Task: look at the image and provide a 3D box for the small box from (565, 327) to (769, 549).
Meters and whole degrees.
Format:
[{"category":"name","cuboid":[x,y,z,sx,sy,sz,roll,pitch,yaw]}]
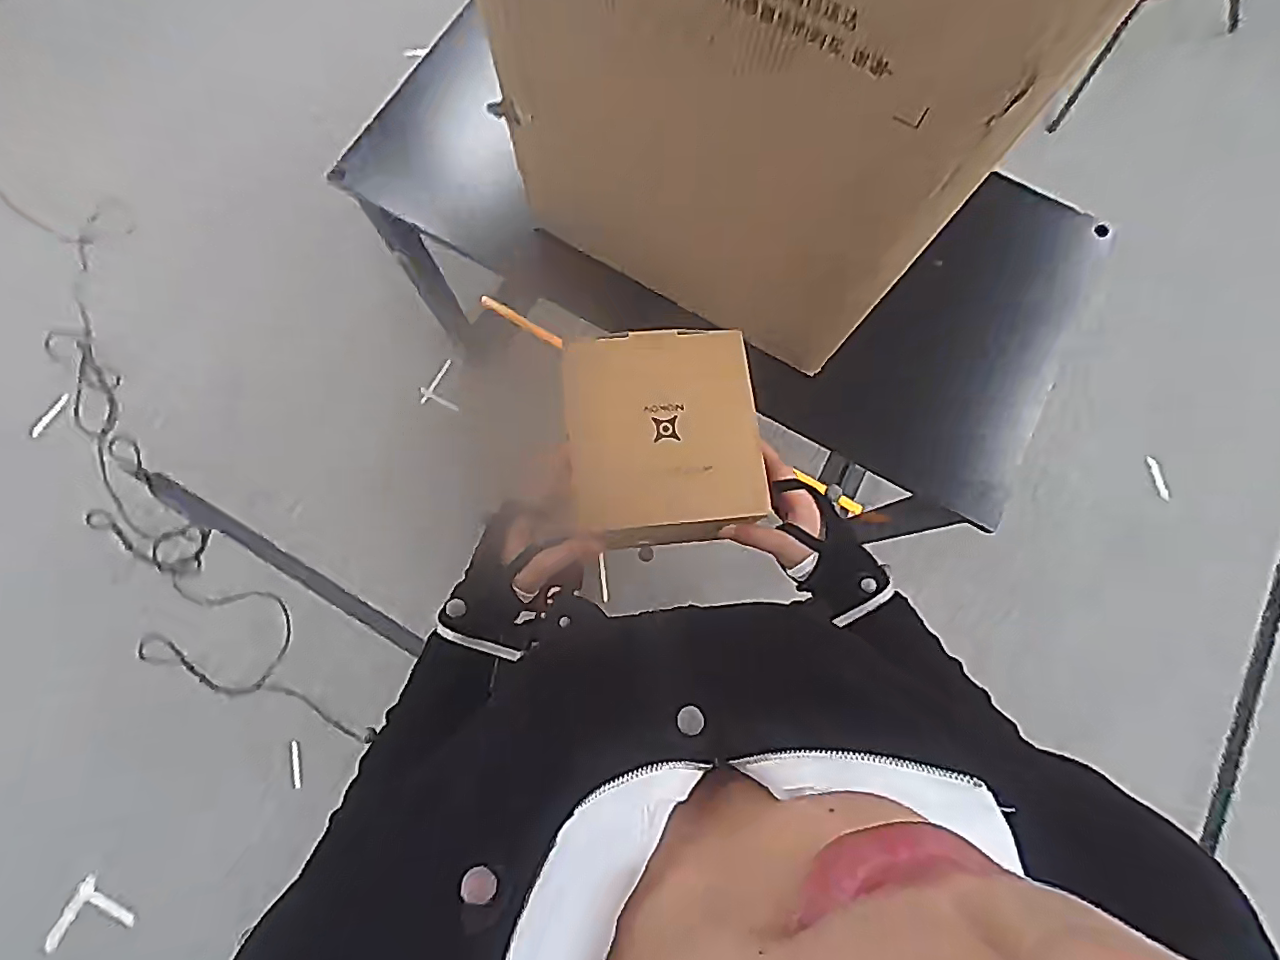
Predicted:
[{"category":"small box","cuboid":[0.011,-0.032,0.538,0.168,0.176,0.179,-4,78,-7]}]
